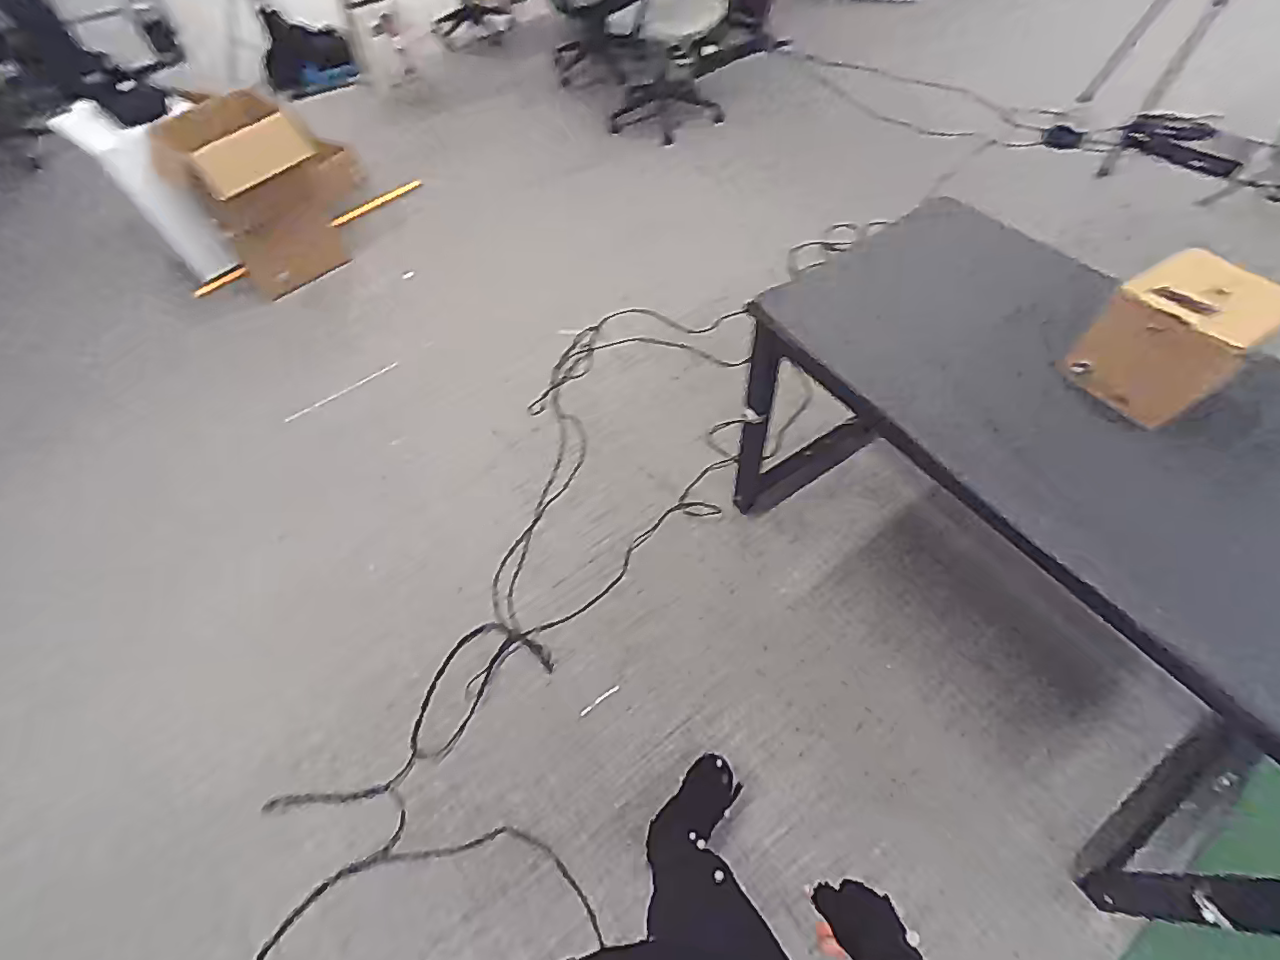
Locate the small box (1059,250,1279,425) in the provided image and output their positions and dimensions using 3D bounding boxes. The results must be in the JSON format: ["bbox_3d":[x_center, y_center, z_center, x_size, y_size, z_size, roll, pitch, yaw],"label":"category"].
[{"bbox_3d":[0.803,-0.215,0.834,0.179,0.176,0.168,-28,59,-14],"label":"small box"}]
